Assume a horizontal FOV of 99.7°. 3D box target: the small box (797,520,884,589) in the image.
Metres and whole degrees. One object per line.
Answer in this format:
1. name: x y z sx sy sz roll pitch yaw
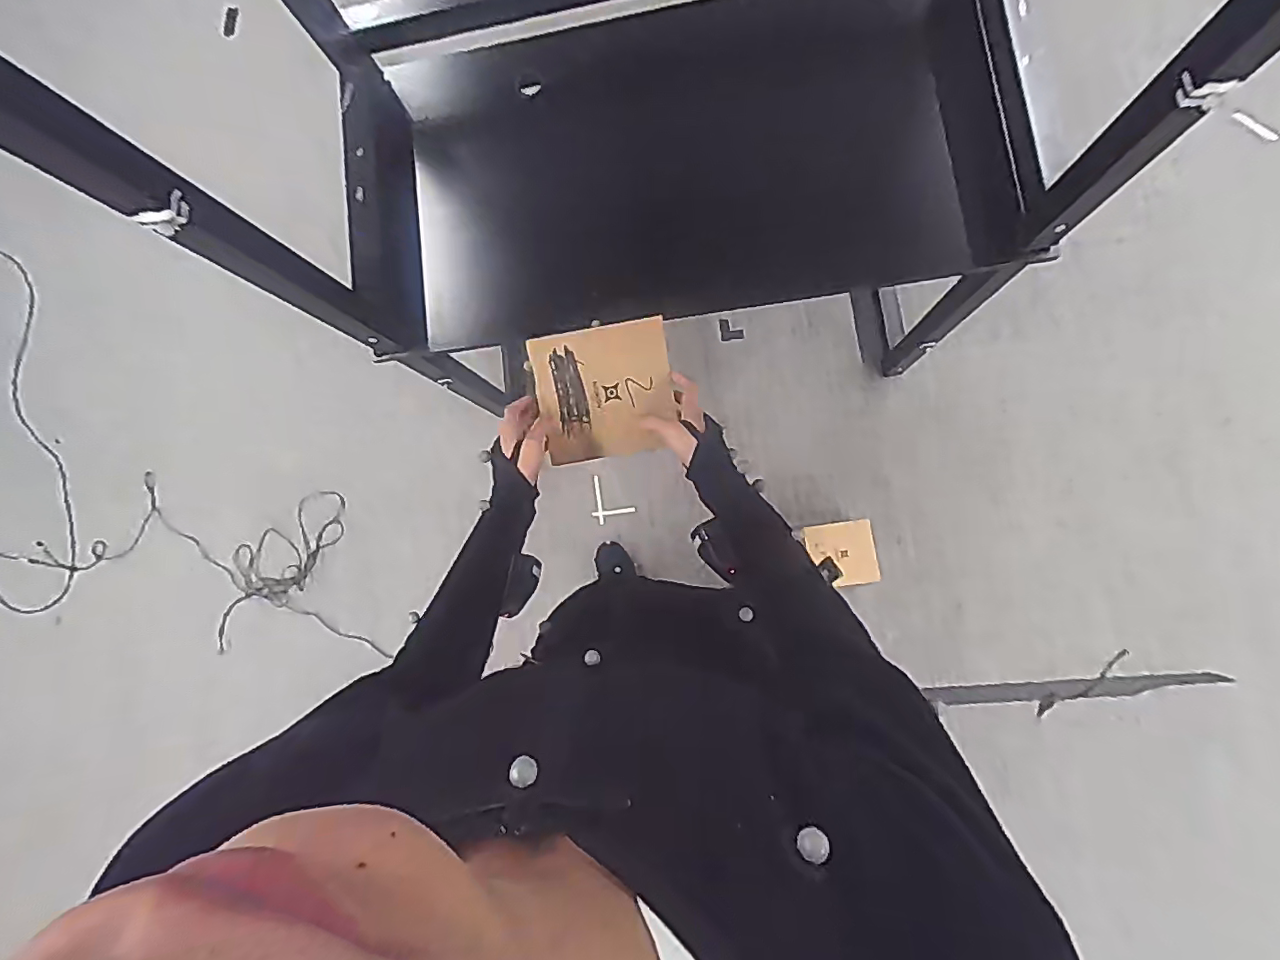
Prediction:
1. small box: 0.545 0.201 1.487 0.179 0.176 0.168 -9 83 8
